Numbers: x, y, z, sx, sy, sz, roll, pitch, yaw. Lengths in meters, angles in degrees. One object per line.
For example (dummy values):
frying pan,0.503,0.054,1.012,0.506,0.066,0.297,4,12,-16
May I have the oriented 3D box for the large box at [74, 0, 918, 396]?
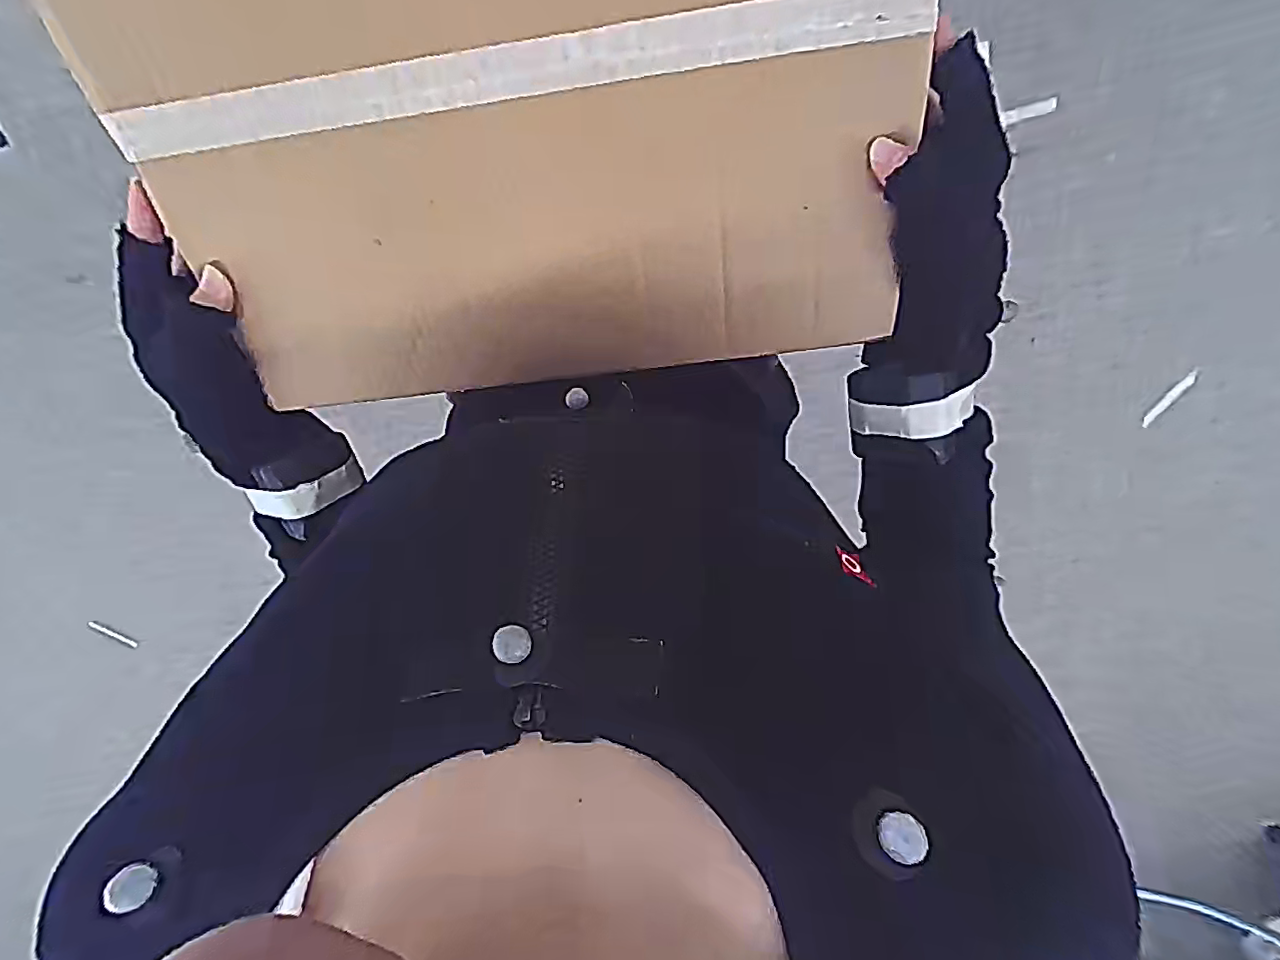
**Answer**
large box,-0.065,-0.286,0.393,0.408,0.320,0.320,-6,124,4
